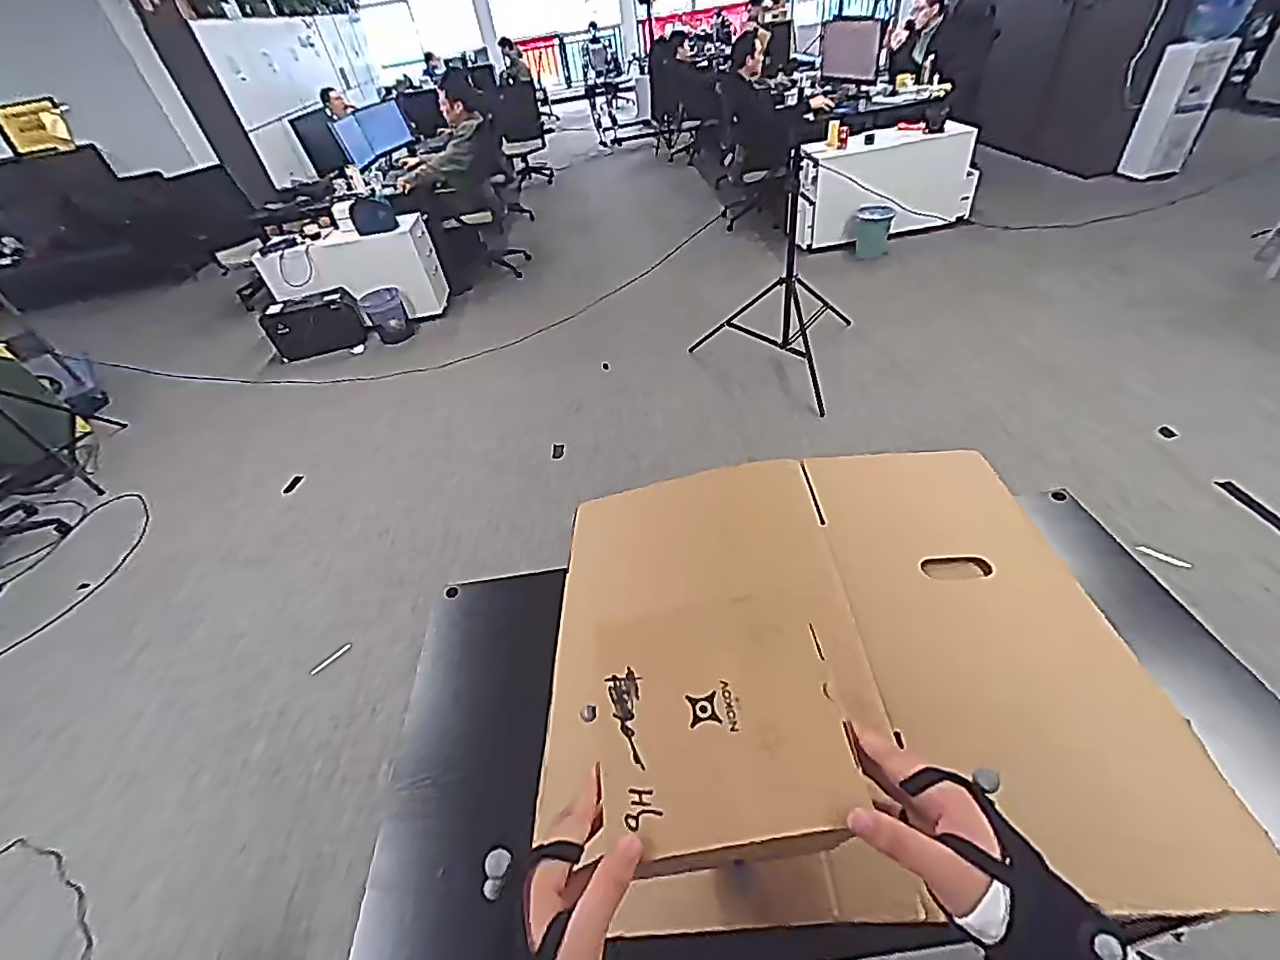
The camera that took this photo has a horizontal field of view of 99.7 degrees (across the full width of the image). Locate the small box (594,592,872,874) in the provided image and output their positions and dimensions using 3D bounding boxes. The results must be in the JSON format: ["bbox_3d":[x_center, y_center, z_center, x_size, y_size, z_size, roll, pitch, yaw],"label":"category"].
[{"bbox_3d":[0.062,0.216,0.457,0.179,0.176,0.168,-9,49,-1],"label":"small box"}]
